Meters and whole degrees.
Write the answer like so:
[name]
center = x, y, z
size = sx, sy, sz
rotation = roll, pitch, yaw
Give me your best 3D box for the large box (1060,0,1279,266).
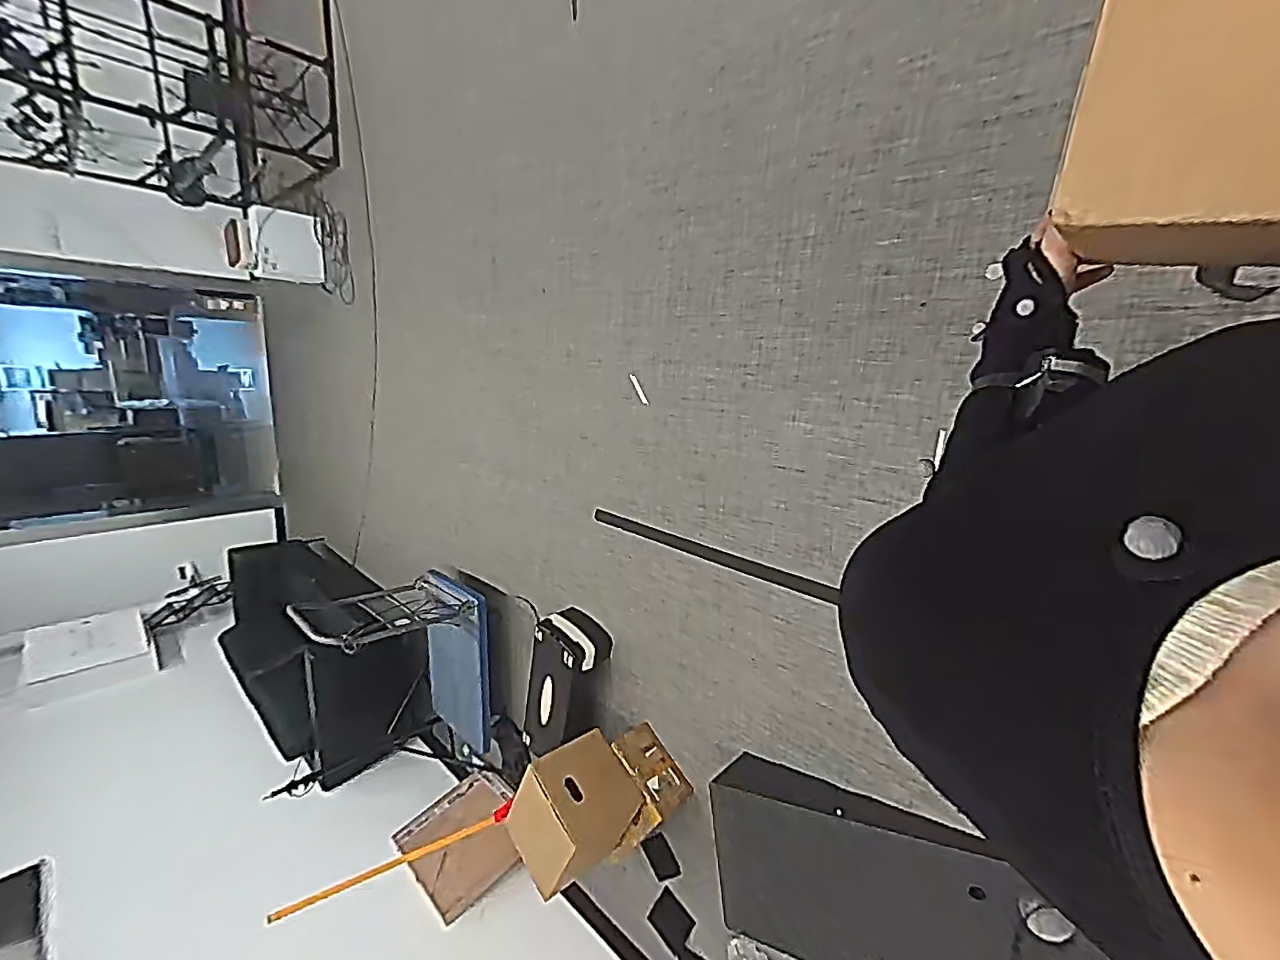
[large box]
center = 0.459, -0.265, 0.220
size = 0.408, 0.320, 0.320
rotation = 17, 115, 36
